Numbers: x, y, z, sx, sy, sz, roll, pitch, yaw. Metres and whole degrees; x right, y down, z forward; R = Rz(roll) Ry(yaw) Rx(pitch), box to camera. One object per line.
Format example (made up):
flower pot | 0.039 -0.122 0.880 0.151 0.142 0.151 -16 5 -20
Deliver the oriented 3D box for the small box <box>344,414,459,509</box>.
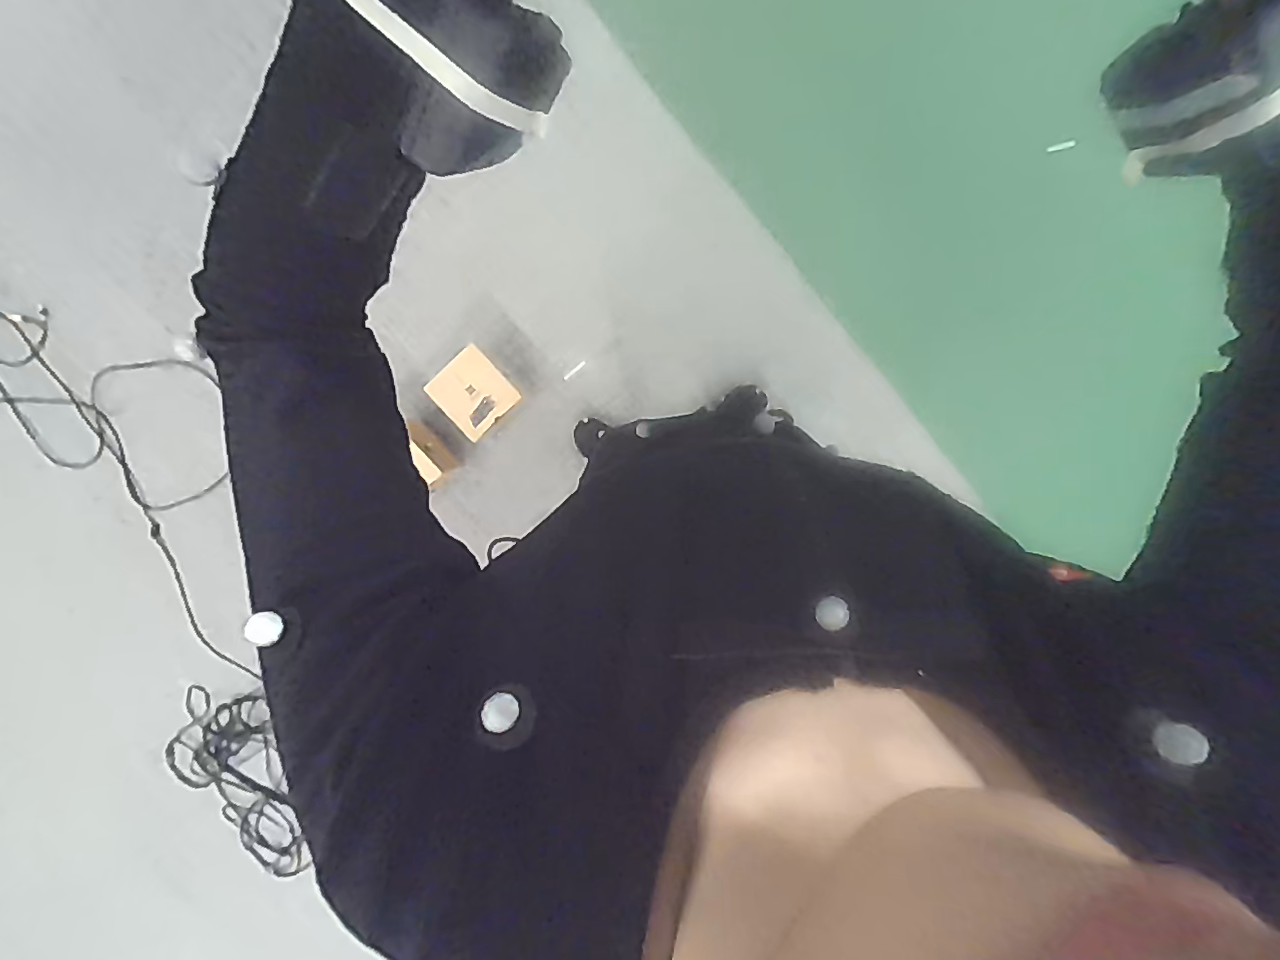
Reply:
small box | -0.598 -0.052 1.379 0.168 0.176 0.179 -41 97 5

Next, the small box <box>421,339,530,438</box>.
small box | -0.400 -0.228 1.354 0.168 0.176 0.179 -41 96 5
